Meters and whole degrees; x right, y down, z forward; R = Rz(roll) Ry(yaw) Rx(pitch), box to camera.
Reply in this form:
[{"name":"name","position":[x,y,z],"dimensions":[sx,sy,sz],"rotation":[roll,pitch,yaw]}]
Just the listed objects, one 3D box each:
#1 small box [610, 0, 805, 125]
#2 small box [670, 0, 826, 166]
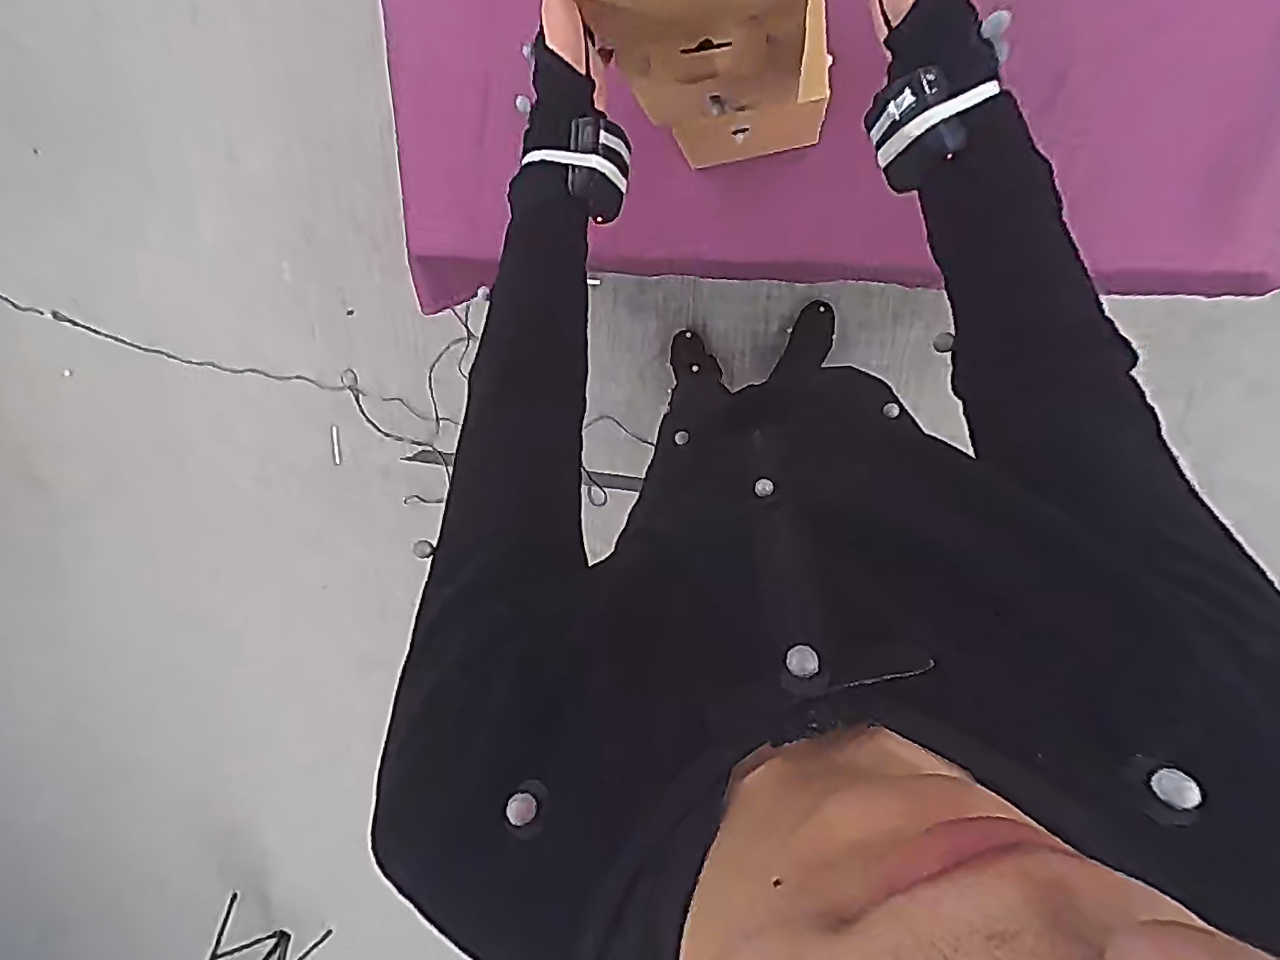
[{"name":"small box","position":[0.070,-0.473,0.514],"dimensions":[0.168,0.176,0.179],"rotation":[1,106,14]},{"name":"small box","position":[0.128,-0.510,0.666],"dimensions":[0.179,0.176,0.168],"rotation":[-4,105,14]}]
